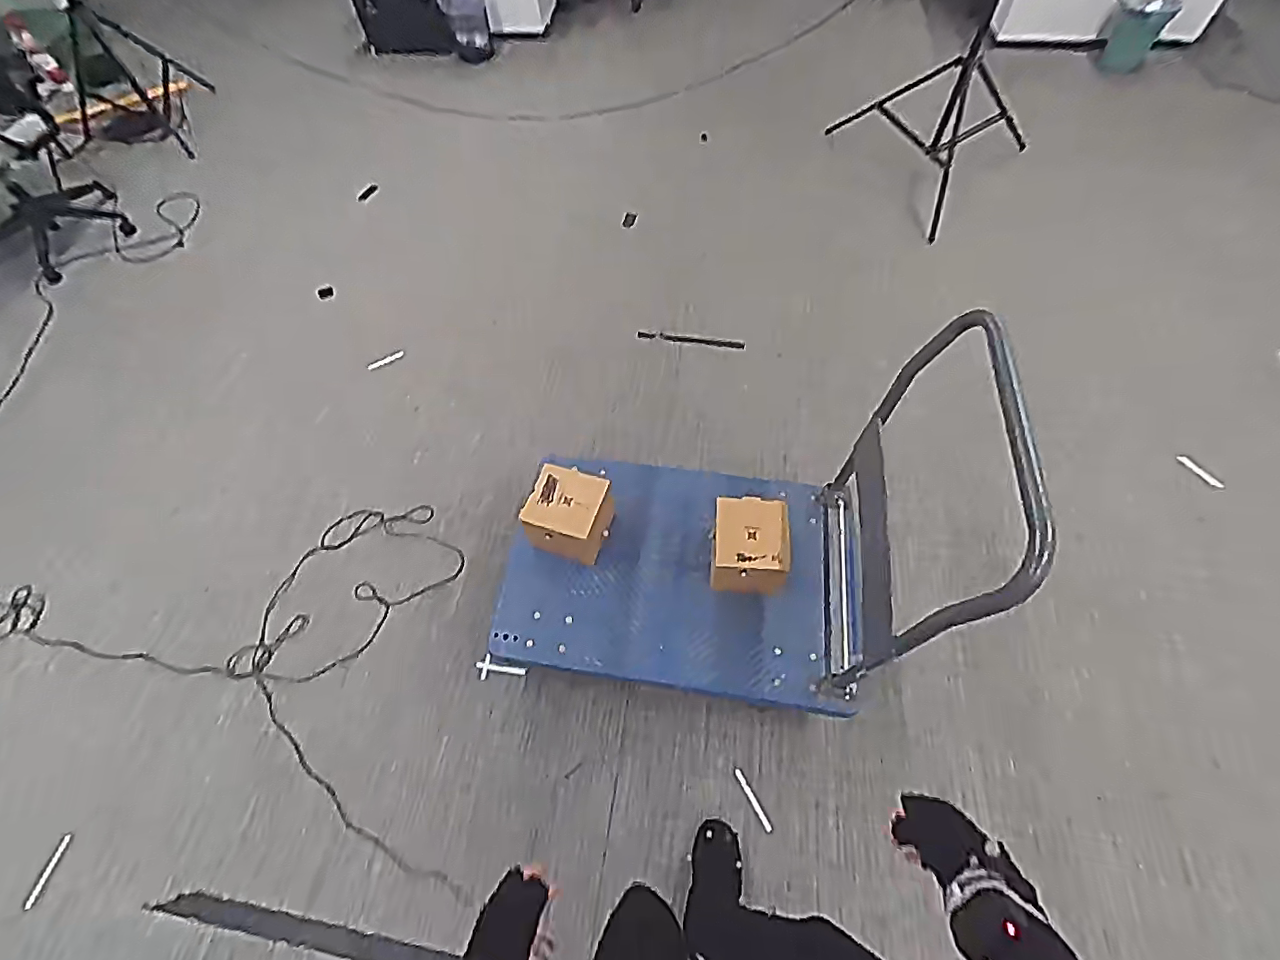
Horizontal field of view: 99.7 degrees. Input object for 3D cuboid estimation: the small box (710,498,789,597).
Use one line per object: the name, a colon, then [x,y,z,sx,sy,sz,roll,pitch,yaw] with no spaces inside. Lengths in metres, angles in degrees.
small box: [0.257,0.163,1.299,0.168,0.176,0.179,3,59,5]

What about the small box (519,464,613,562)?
small box: [-0.178,0.088,1.360,0.179,0.176,0.168,16,62,10]
